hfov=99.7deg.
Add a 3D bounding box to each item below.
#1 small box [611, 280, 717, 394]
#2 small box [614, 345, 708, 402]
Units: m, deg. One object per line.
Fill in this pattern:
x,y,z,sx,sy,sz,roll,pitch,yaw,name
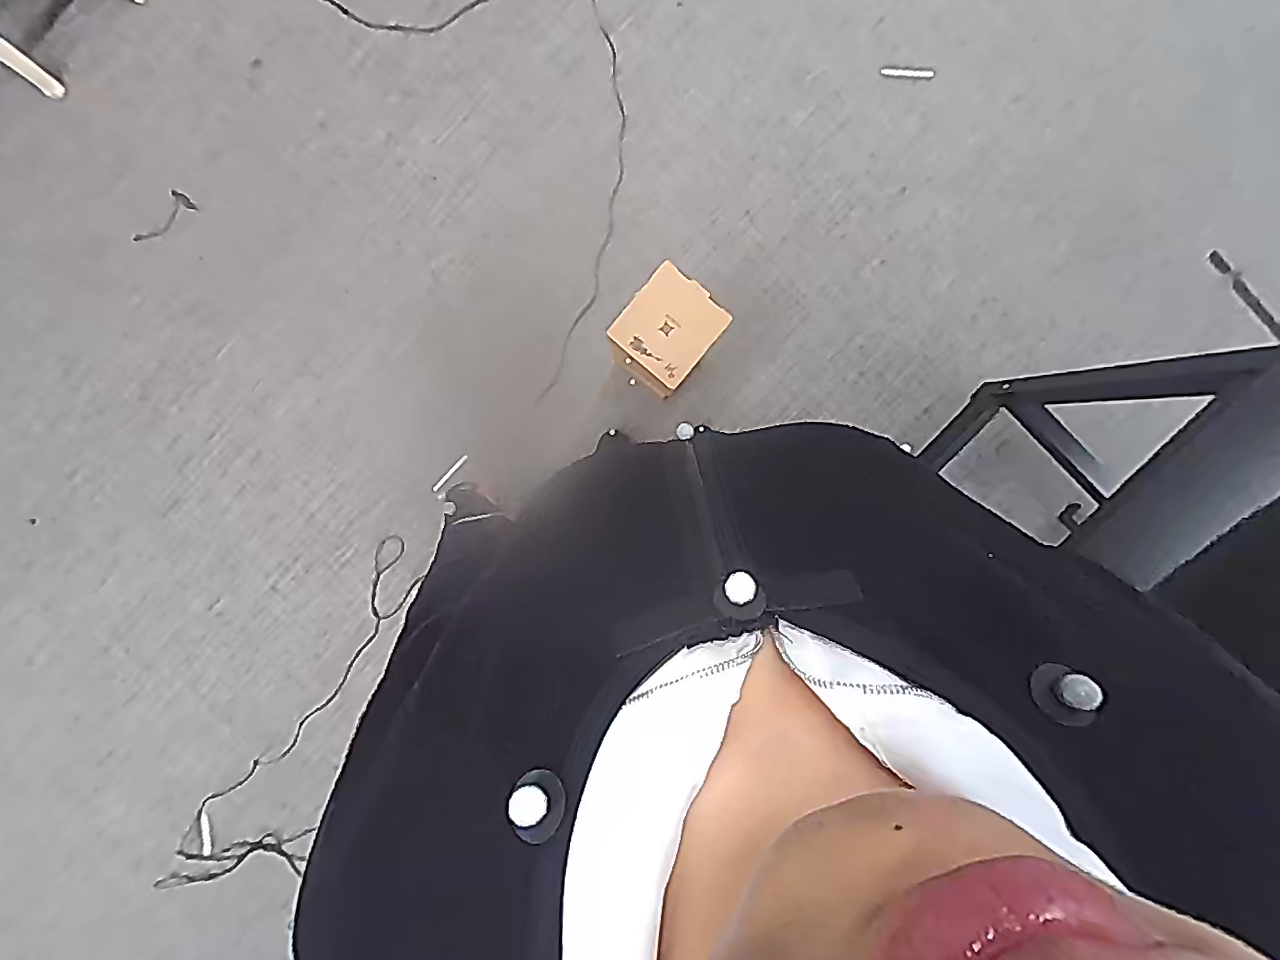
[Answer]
0.052,-0.314,1.234,0.168,0.176,0.179,37,92,-4,small box
0.050,-0.321,1.395,0.168,0.176,0.179,40,94,-3,small box
